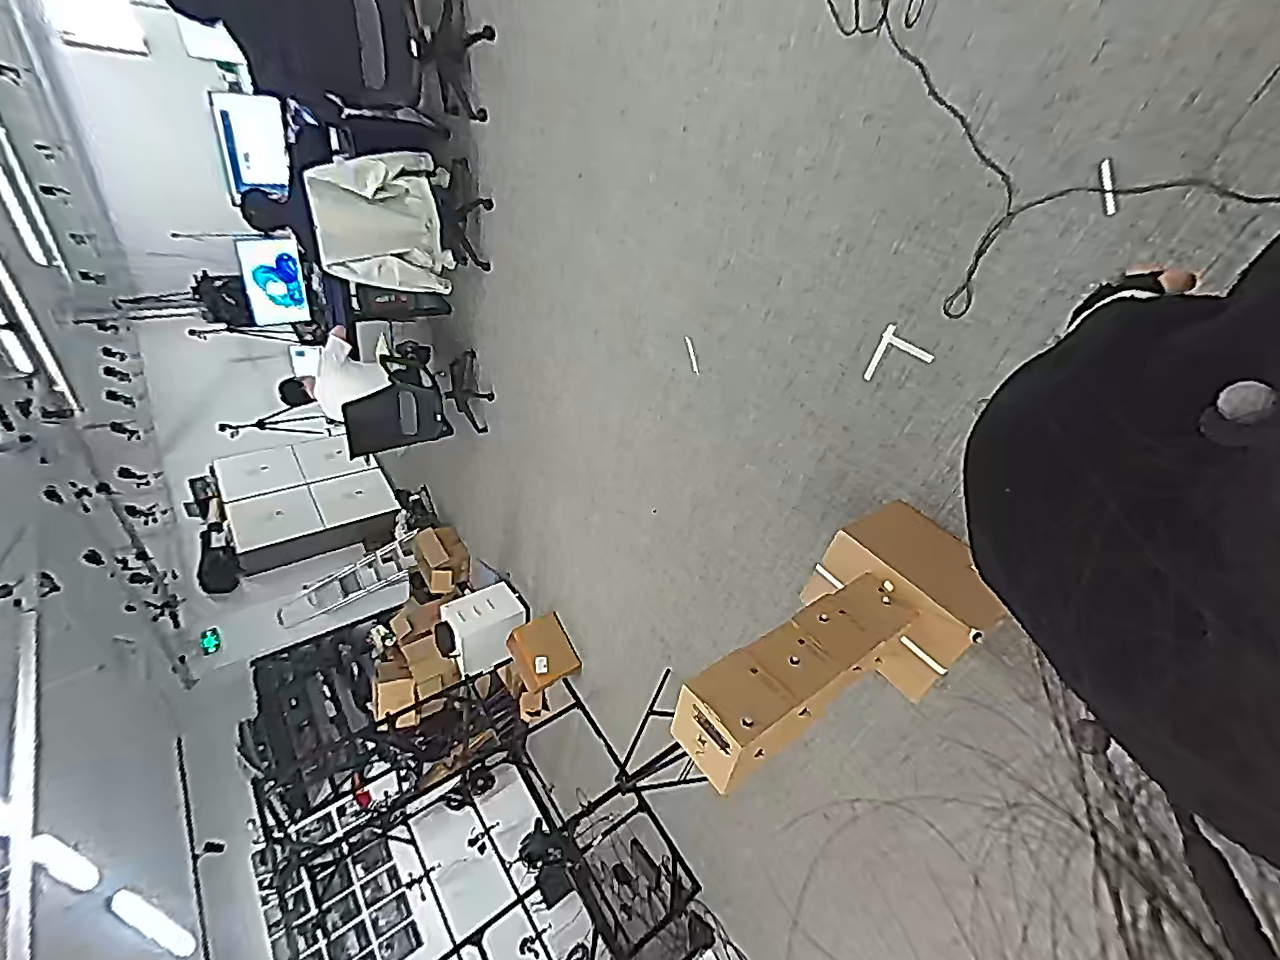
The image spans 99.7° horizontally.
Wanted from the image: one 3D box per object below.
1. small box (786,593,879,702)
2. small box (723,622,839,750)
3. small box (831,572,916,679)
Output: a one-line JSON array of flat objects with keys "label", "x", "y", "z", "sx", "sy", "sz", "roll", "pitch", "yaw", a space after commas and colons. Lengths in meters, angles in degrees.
[{"label": "small box", "x": 0.446, "y": 0.406, "z": 1.309, "sx": 0.168, "sy": 0.176, "sz": 0.179, "roll": 44, "pitch": 138, "yaw": 36}, {"label": "small box", "x": 0.318, "y": 0.454, "z": 1.216, "sx": 0.168, "sy": 0.176, "sz": 0.179, "roll": 41, "pitch": 135, "yaw": 39}, {"label": "small box", "x": 0.575, "y": 0.371, "z": 1.401, "sx": 0.168, "sy": 0.176, "sz": 0.179, "roll": 44, "pitch": 136, "yaw": 34}]
